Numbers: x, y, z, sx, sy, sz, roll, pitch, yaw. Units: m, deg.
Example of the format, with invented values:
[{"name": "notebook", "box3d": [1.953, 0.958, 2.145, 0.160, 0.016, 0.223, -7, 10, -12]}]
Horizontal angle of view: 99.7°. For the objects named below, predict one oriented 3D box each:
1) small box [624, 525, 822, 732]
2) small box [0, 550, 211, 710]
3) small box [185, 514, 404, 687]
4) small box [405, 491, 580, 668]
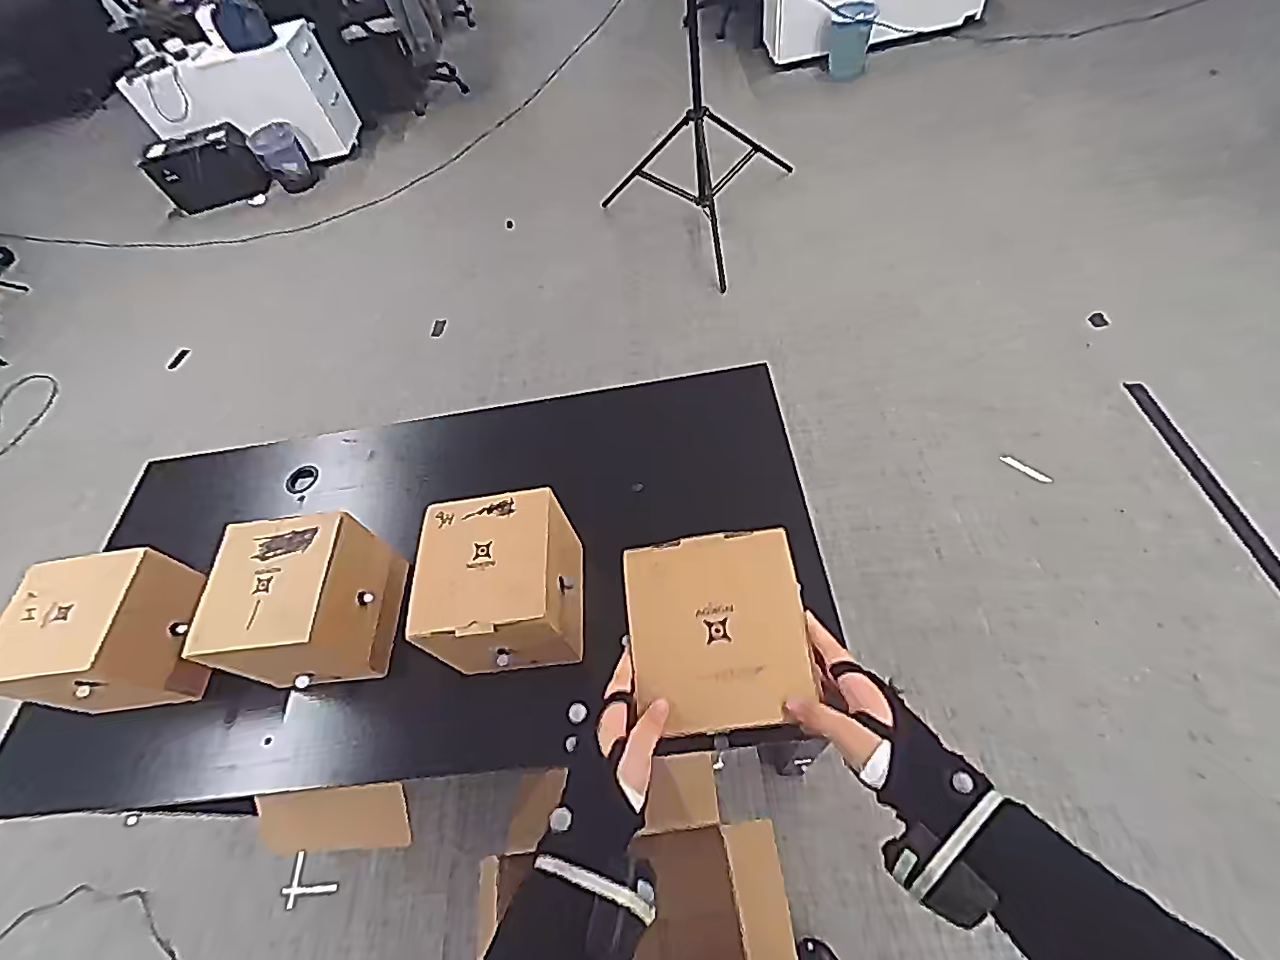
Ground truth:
[{"name": "small box", "box3d": [0.081, 0.167, 0.582, 0.168, 0.176, 0.179, -9, 64, 5]}, {"name": "small box", "box3d": [-0.730, 0.216, 0.761, 0.179, 0.176, 0.168, -9, 55, 4]}, {"name": "small box", "box3d": [-0.450, 0.169, 0.741, 0.168, 0.176, 0.179, -8, 57, 6]}, {"name": "small box", "box3d": [-0.177, 0.139, 0.711, 0.168, 0.176, 0.179, -8, 56, 6]}]
